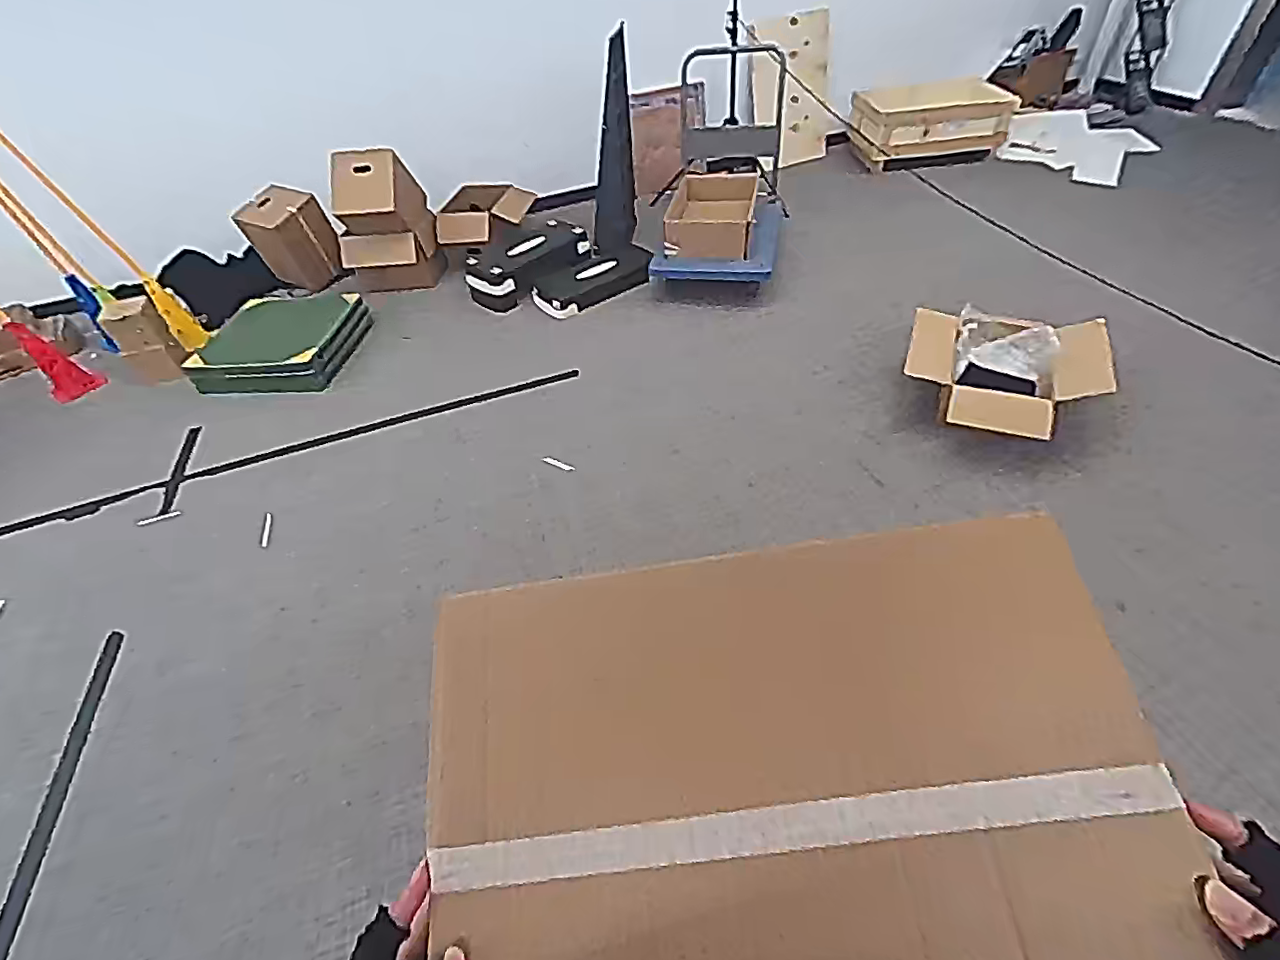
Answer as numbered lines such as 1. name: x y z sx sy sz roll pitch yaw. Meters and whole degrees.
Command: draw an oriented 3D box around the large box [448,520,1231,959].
1. large box: 0.100 0.254 0.442 0.408 0.320 0.320 -9 67 4
